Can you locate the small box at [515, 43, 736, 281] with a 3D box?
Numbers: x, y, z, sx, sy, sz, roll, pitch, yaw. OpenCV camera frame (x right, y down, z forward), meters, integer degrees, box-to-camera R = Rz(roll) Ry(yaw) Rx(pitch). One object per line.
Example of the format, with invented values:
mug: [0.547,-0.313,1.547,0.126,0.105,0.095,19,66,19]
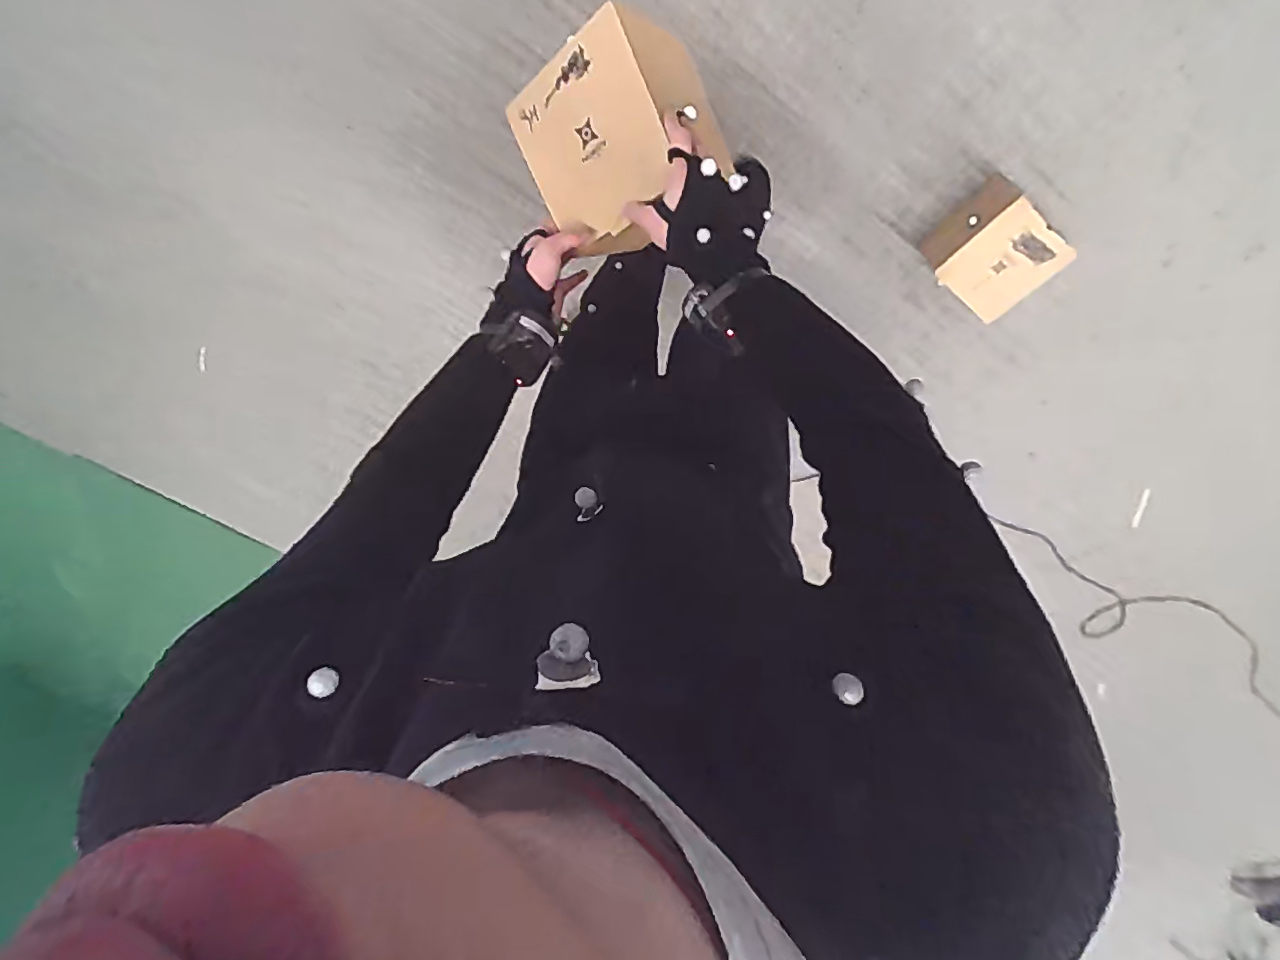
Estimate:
small box: [-0.008,-0.369,0.655,0.168,0.176,0.179,-20,101,38]

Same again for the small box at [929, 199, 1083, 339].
small box: [0.710,-0.422,1.072,0.168,0.176,0.179,35,130,-11]
